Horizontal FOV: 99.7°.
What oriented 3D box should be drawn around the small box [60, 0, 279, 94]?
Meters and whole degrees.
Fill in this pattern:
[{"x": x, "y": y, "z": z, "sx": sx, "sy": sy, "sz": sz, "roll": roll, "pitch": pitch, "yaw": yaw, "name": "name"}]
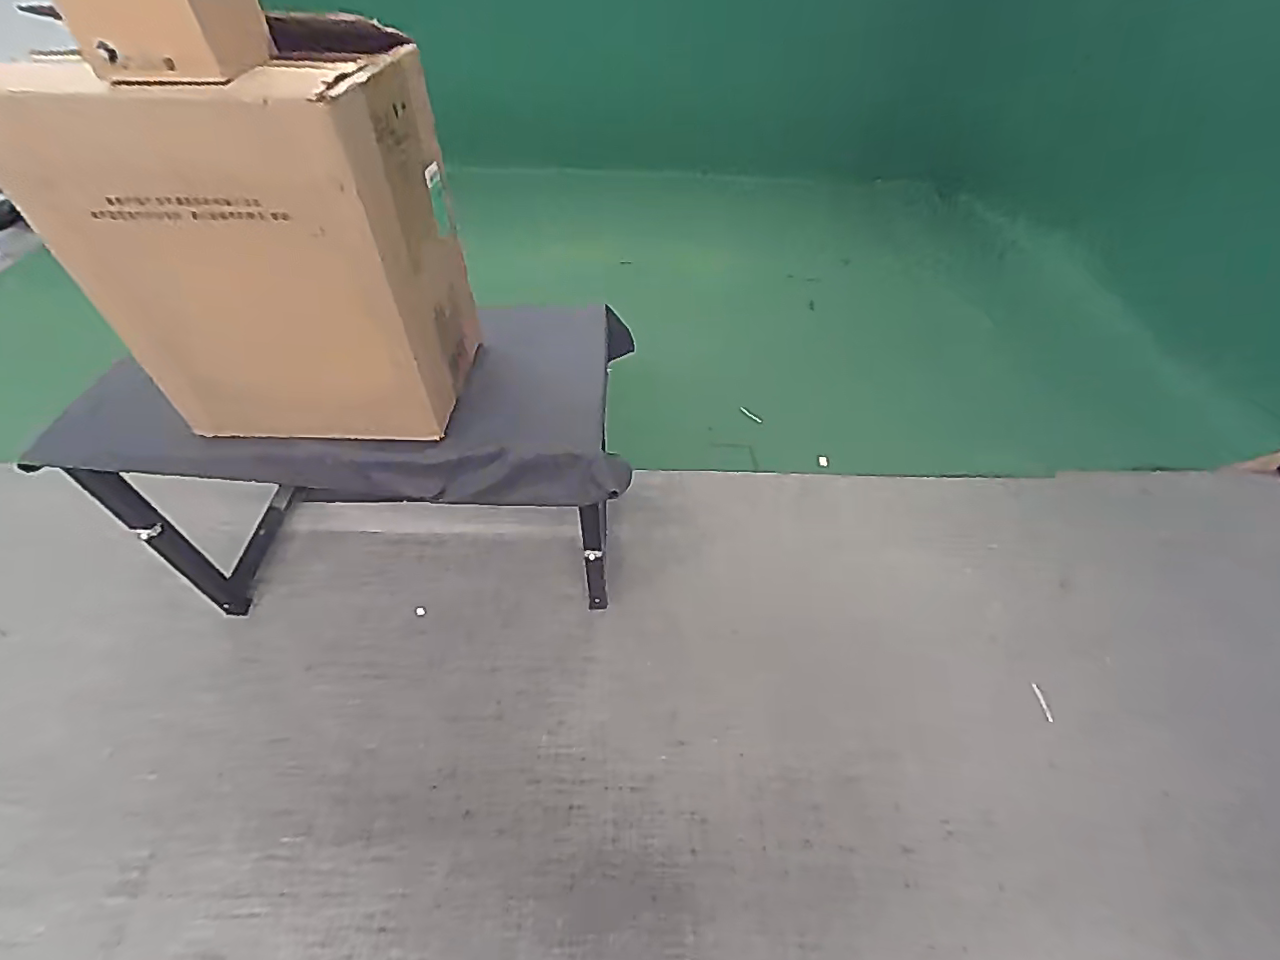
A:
[{"x": -0.632, "y": -0.638, "z": 0.727, "sx": 0.168, "sy": 0.176, "sz": 0.179, "roll": 0, "pitch": 47, "yaw": -2, "name": "small box"}]
